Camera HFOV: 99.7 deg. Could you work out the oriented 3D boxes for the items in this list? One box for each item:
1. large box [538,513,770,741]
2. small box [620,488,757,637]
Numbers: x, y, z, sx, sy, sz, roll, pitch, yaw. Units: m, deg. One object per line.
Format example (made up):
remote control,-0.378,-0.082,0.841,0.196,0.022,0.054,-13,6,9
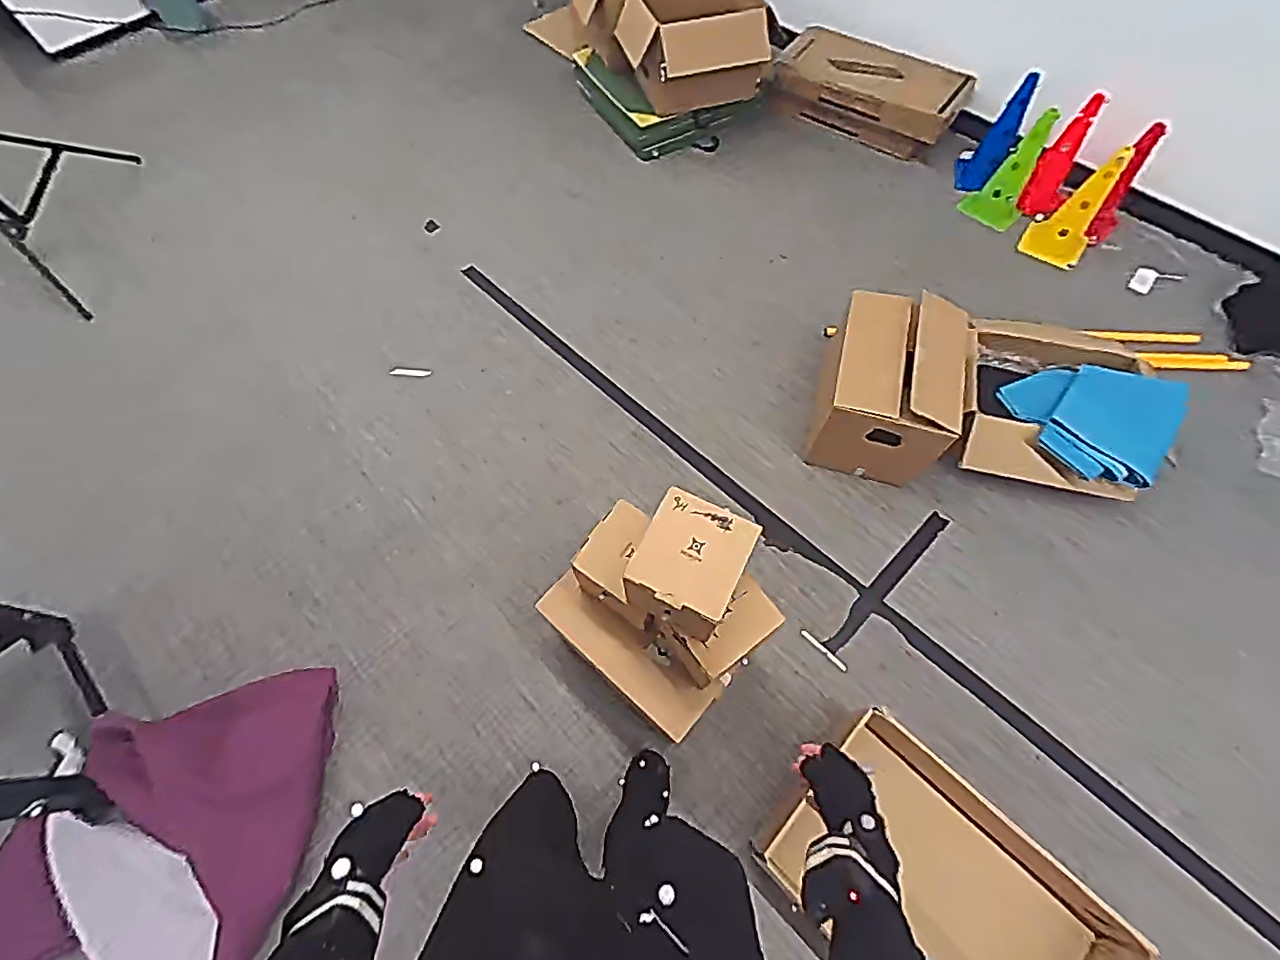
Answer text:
large box,0.027,0.353,1.279,0.408,0.320,0.320,37,71,17
small box,0.083,0.149,0.925,0.168,0.176,0.179,25,68,13
